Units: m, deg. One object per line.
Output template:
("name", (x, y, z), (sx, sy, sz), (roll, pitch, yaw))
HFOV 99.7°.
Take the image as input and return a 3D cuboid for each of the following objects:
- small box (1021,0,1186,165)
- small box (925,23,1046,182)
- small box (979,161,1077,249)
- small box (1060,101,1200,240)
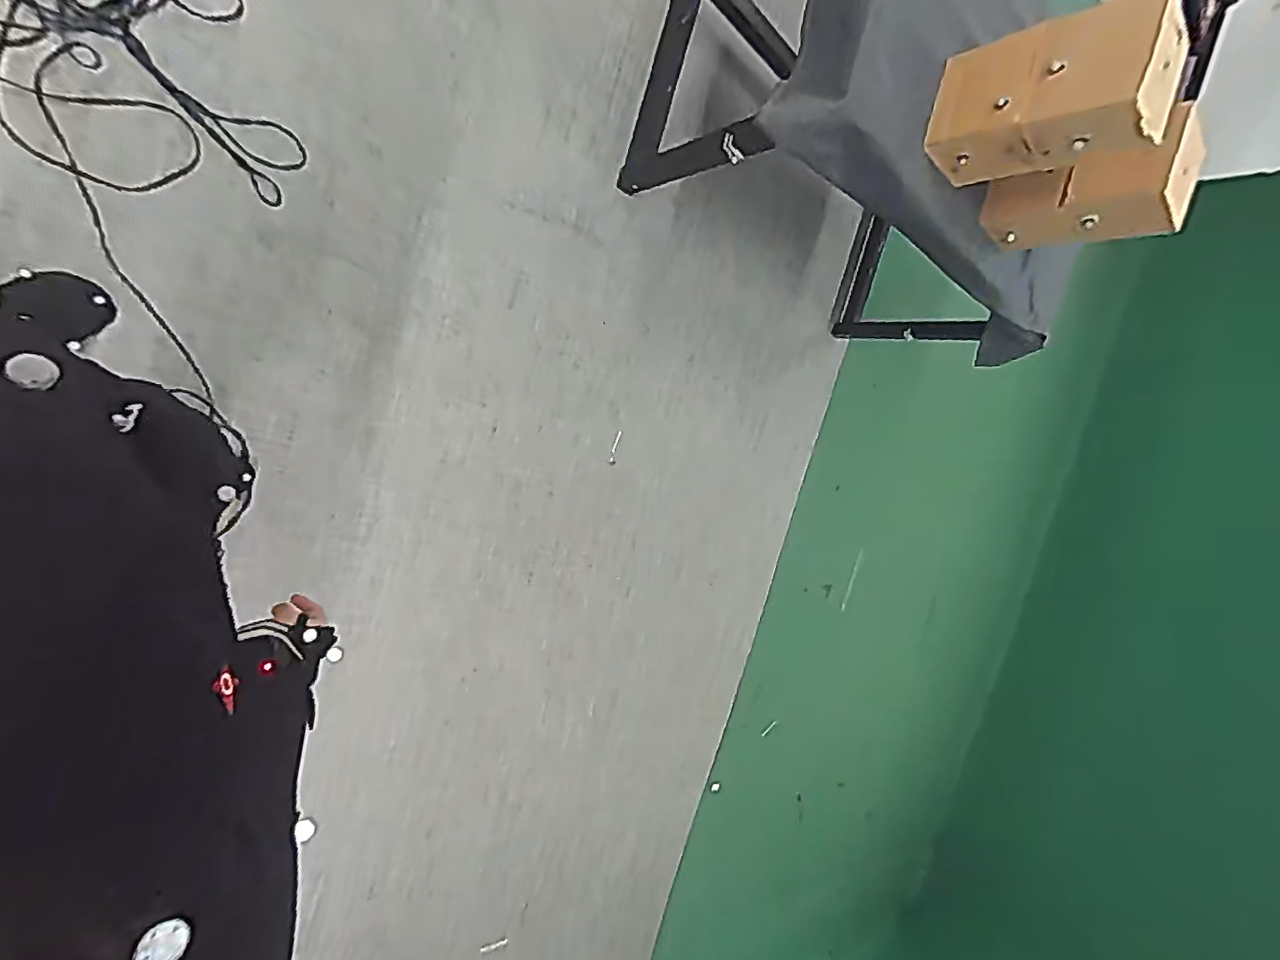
("small box", (0.789, -0.678, 0.934), (0.168, 0.176, 0.179), (8, 99, -39))
("small box", (0.688, -0.719, 1.056), (0.168, 0.176, 0.179), (10, 97, -40))
("small box", (0.913, -0.658, 1.244), (0.168, 0.176, 0.179), (12, 95, -39))
("small box", (1.007, -0.623, 1.116), (0.168, 0.176, 0.179), (14, 94, -38))
